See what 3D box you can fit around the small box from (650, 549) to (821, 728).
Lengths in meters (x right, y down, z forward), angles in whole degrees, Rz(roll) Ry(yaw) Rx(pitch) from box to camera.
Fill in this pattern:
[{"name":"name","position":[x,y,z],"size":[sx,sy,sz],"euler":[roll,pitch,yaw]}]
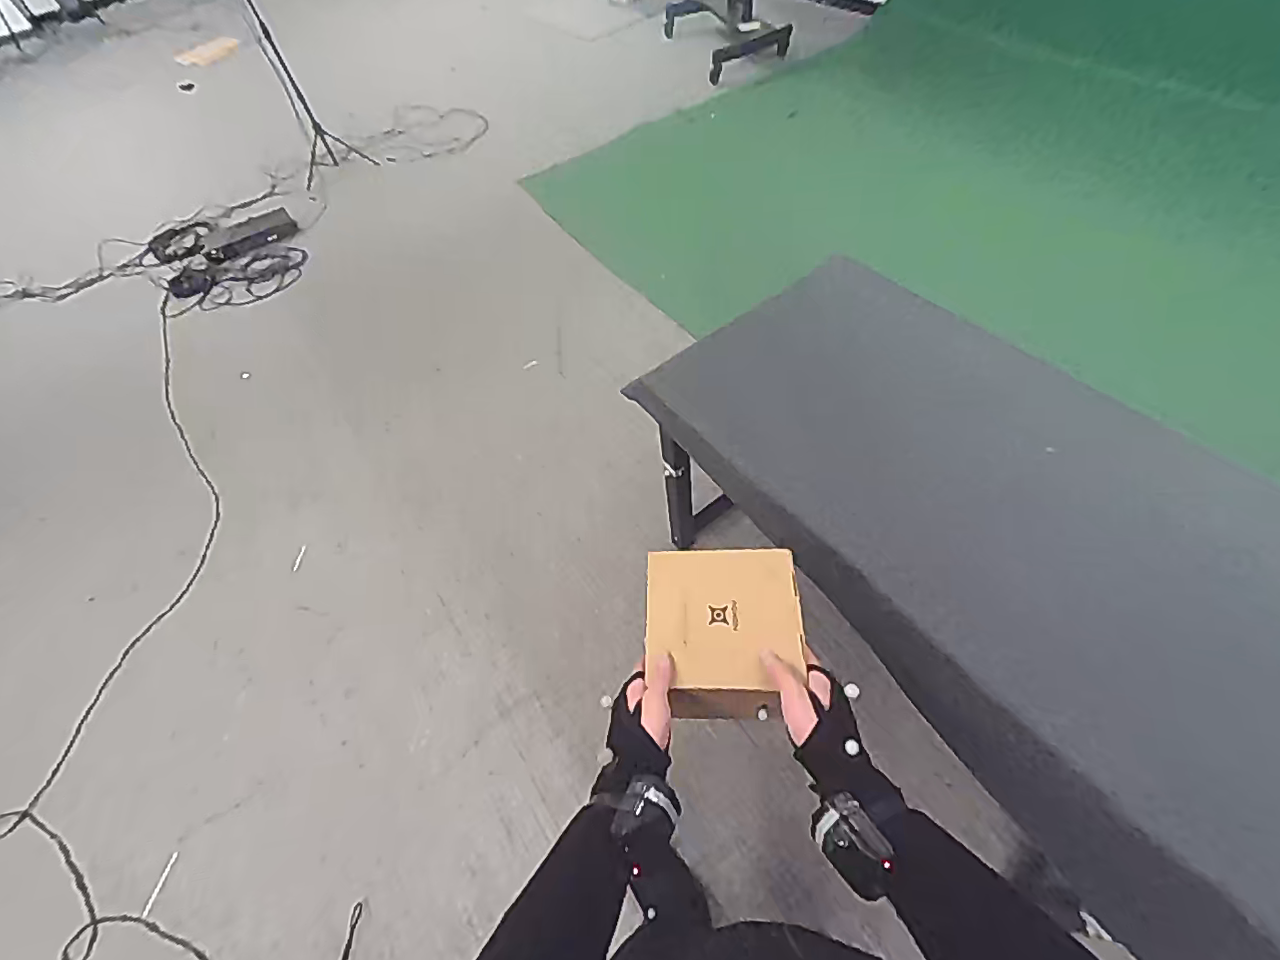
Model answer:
[{"name":"small box","position":[0.105,0.197,0.662],"size":[0.179,0.176,0.168],"euler":[-3,53,5]}]
